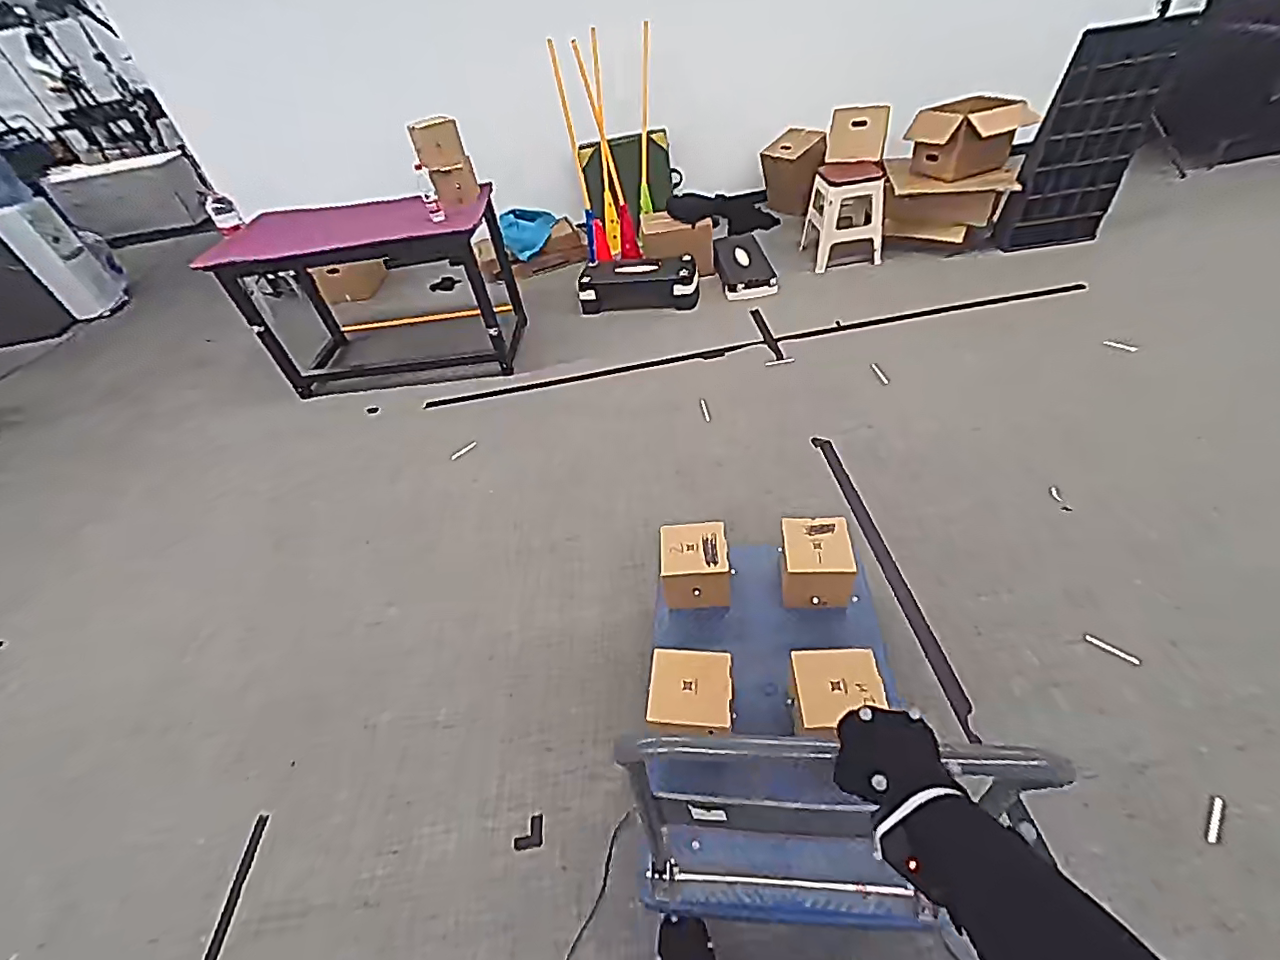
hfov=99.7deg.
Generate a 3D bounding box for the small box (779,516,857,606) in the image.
[{"bbox_3d":[0.465,0.215,1.442,0.168,0.176,0.179,-2,46,9],"label":"small box"}]

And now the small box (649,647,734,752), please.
[{"bbox_3d":[0.122,0.497,1.222,0.179,0.176,0.168,1,45,9],"label":"small box"}]

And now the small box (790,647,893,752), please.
[{"bbox_3d":[0.428,0.482,1.182,0.179,0.176,0.168,-4,45,7],"label":"small box"}]
